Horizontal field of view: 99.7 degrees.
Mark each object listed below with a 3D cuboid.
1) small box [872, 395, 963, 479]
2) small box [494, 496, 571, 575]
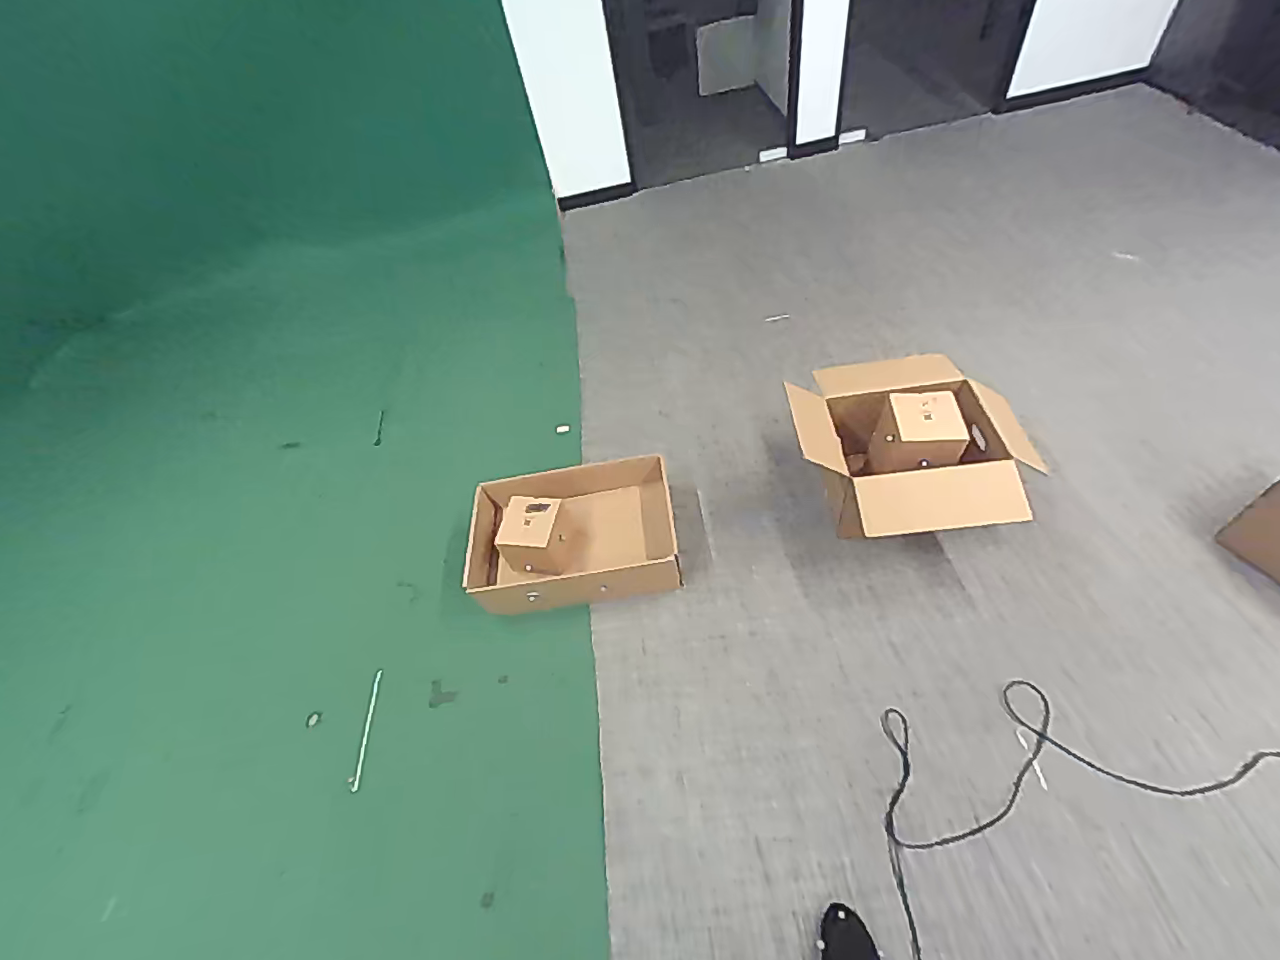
[{"bbox_3d":[0.762,-0.114,1.503,0.168,0.176,0.179,0,52,7],"label":"small box"},{"bbox_3d":[-0.321,0.171,1.664,0.168,0.176,0.179,3,52,13],"label":"small box"}]
